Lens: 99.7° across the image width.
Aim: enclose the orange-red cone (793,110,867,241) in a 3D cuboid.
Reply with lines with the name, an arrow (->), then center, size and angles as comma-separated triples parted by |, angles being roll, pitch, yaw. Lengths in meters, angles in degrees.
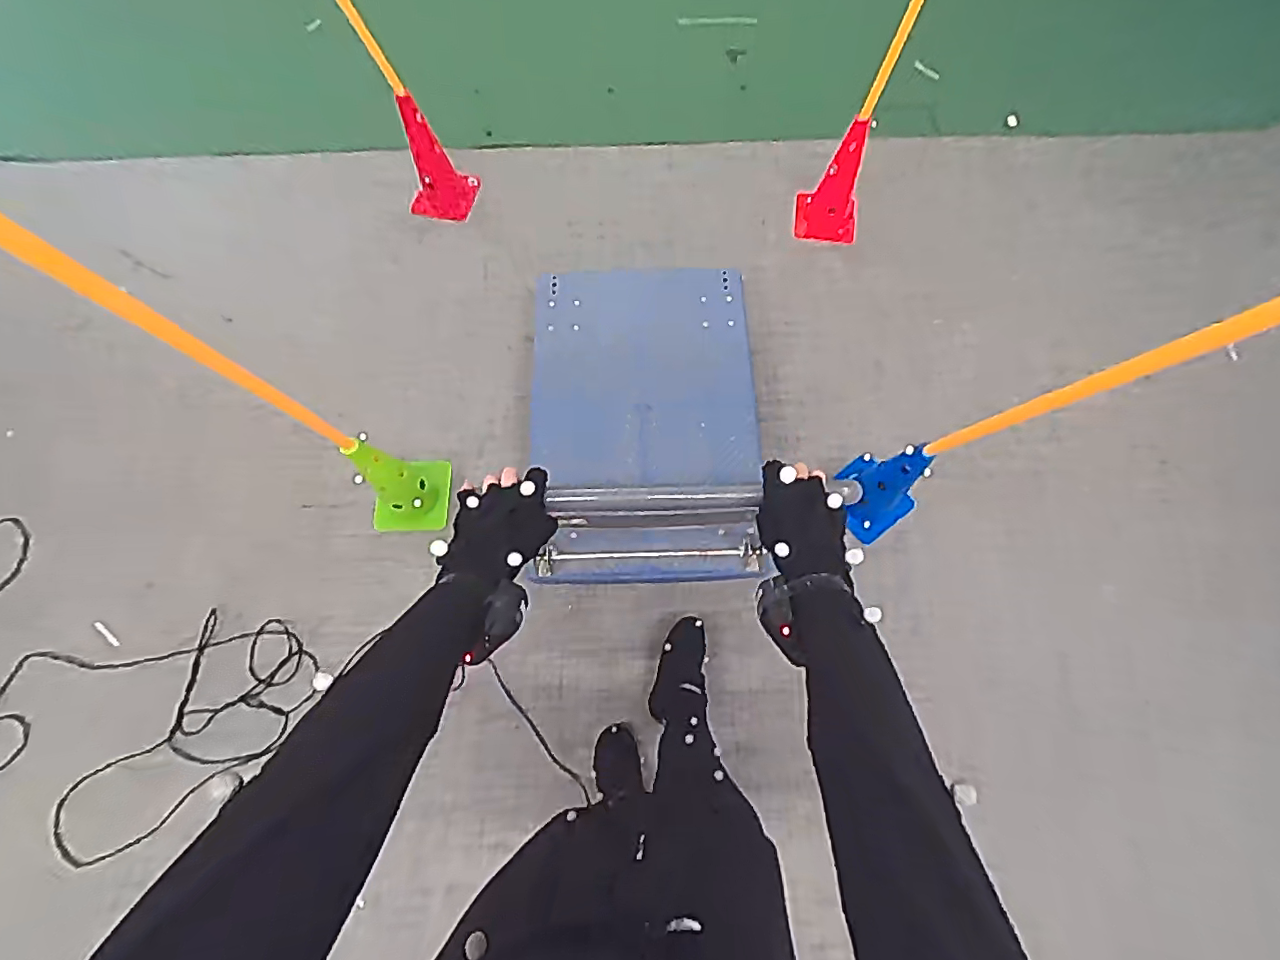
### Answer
orange-red cone -> 0.608, -0.933, 1.633 | 0.198, 0.360, 0.199 | 9, 72, 5
